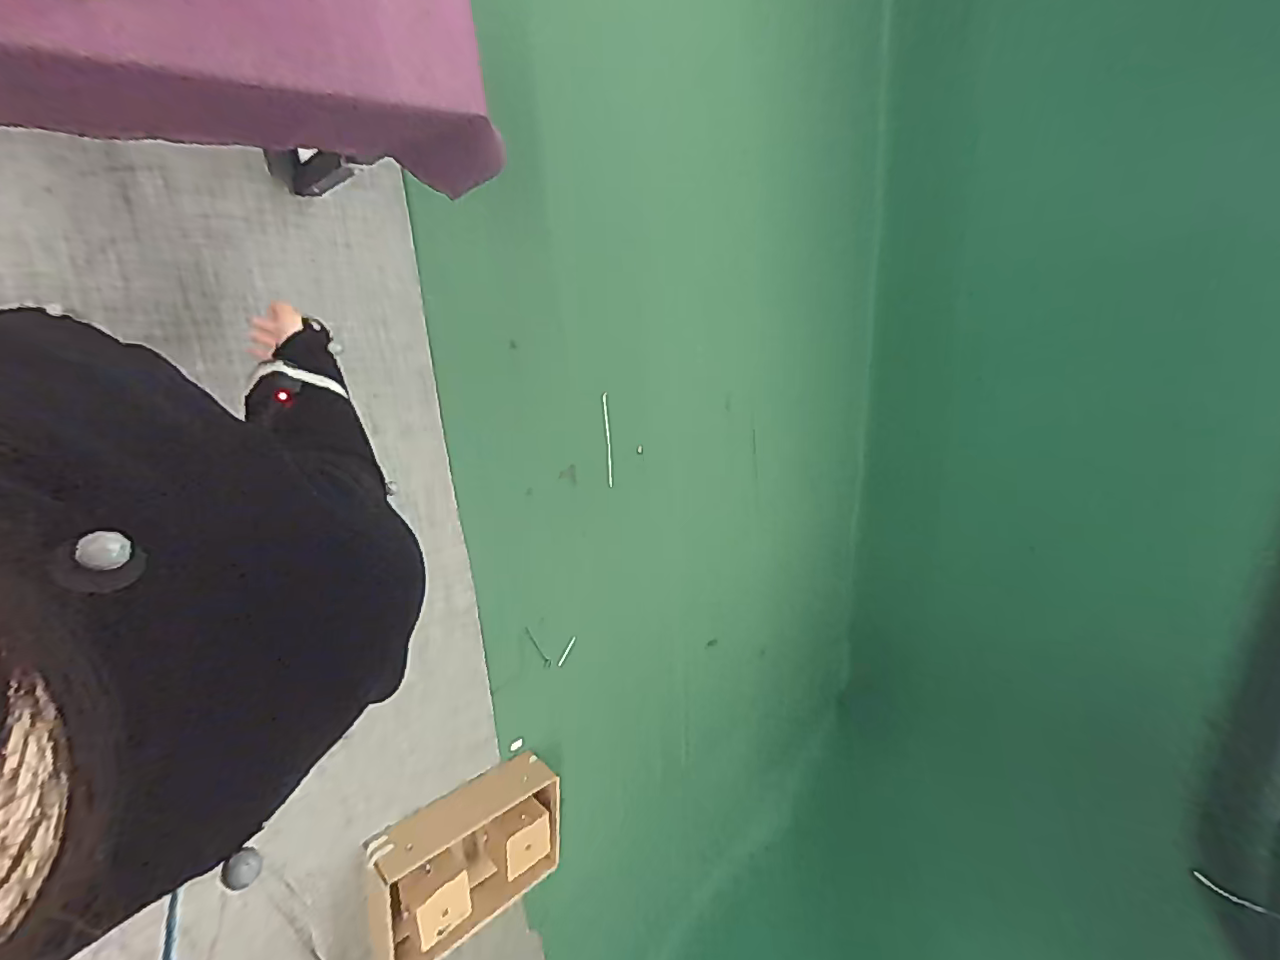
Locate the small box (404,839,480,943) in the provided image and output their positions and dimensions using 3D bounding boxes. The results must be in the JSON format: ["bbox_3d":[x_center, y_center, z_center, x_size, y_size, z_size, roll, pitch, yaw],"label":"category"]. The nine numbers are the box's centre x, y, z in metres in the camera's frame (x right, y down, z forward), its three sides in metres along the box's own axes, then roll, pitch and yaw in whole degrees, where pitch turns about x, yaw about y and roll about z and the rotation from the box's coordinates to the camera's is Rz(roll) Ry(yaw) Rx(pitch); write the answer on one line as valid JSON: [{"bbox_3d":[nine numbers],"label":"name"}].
[{"bbox_3d":[-0.628,1.281,1.708,0.168,0.176,0.179,-15,109,-43],"label":"small box"}]
